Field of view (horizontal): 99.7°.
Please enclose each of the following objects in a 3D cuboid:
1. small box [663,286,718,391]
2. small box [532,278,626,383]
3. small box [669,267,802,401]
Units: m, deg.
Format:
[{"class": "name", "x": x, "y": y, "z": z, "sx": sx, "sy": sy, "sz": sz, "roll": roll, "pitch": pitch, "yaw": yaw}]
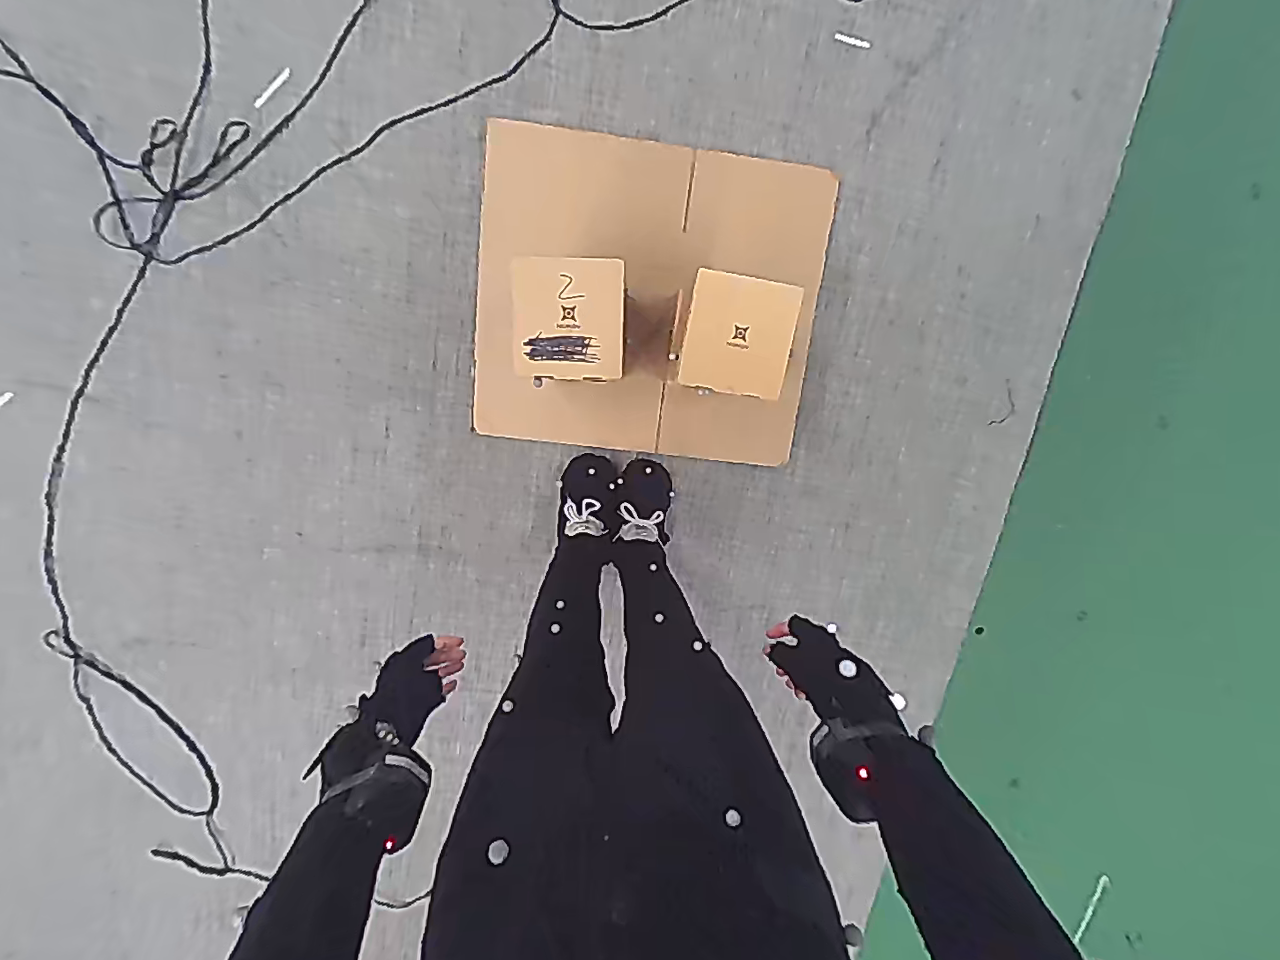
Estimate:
[{"class": "small box", "x": 0.137, "y": -0.269, "z": 1.059, "sx": 0.168, "sy": 0.176, "sz": 0.179, "roll": 6, "pitch": 103, "yaw": -2}, {"class": "small box", "x": -0.112, "y": -0.283, "z": 1.042, "sx": 0.168, "sy": 0.176, "sz": 0.179, "roll": 2, "pitch": 103, "yaw": -3}, {"class": "small box", "x": 0.146, "y": -0.238, "z": 0.899, "sx": 0.168, "sy": 0.176, "sz": 0.179, "roll": 9, "pitch": 103, "yaw": -4}]
